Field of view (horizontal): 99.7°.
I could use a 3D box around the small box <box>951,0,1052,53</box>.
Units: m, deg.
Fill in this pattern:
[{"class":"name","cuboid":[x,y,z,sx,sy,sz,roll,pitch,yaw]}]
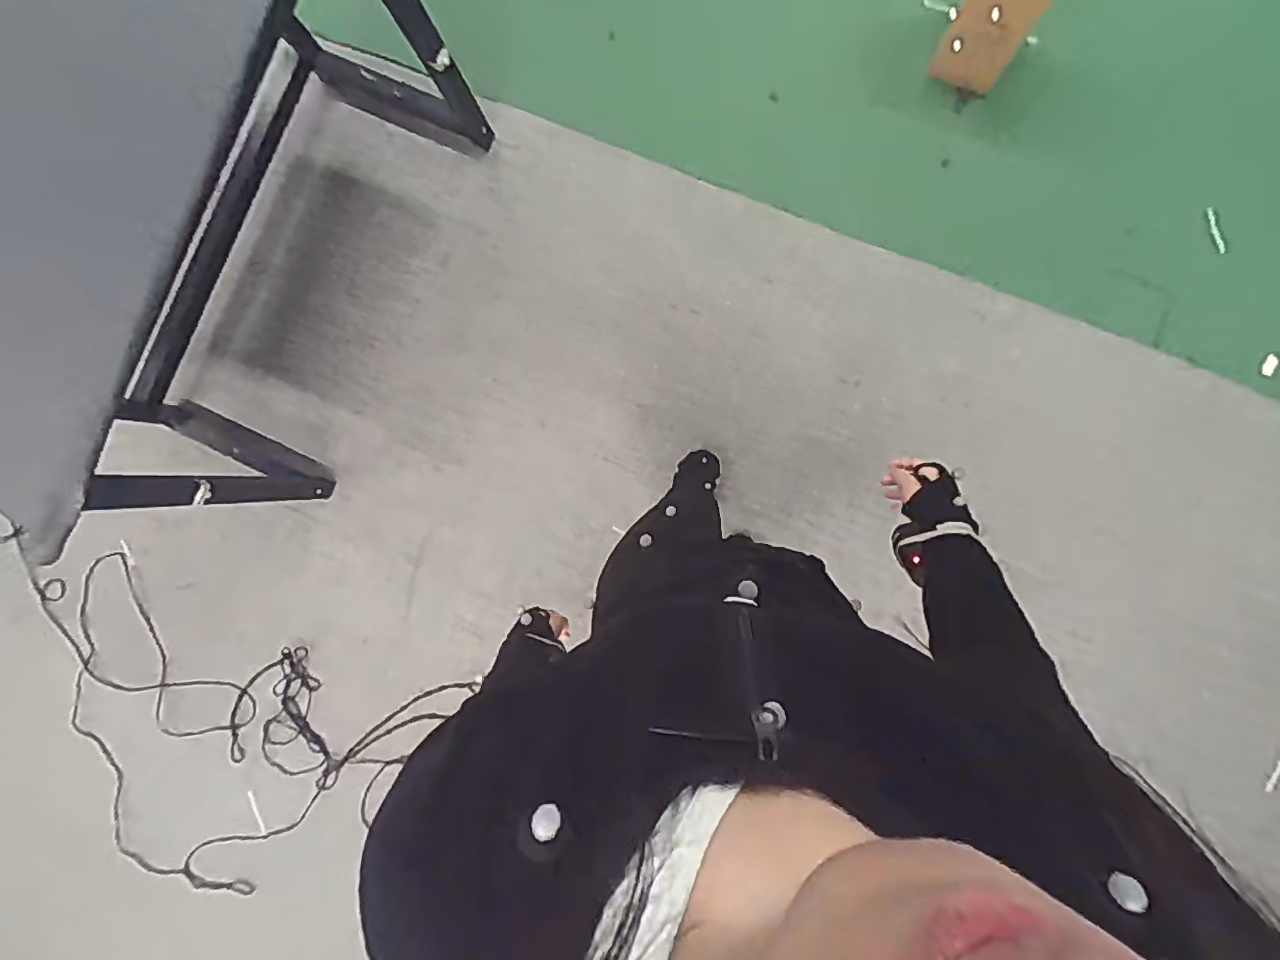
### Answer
[{"class":"small box","cuboid":[0.844,-1.134,1.223,0.168,0.176,0.179,23,90,4]}]
